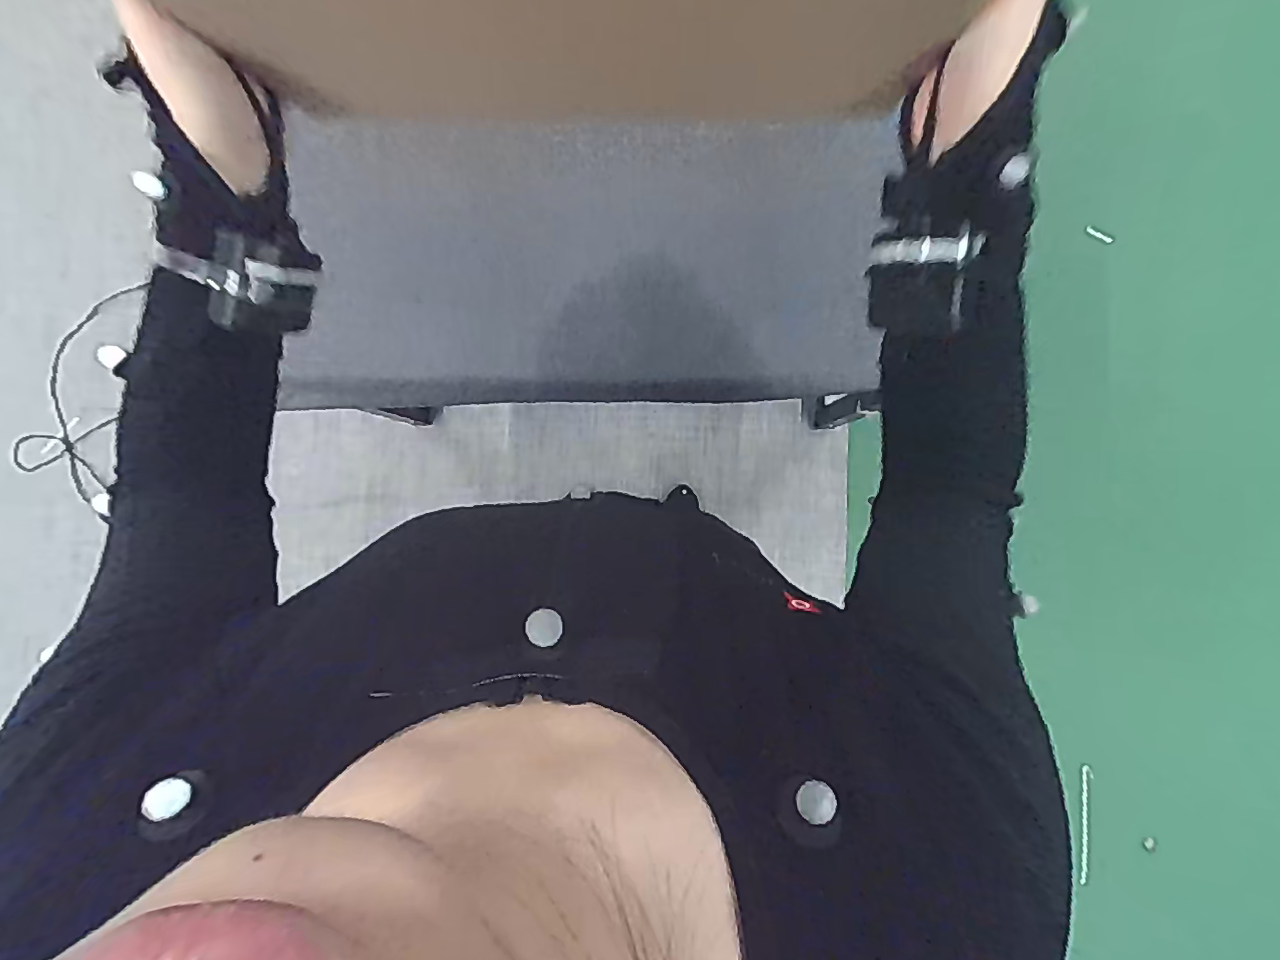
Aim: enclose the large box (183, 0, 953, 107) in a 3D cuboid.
[{"bbox_3d":[-0.036,-0.379,0.194,0.408,0.320,0.320,0,102,1],"label":"large box"}]
